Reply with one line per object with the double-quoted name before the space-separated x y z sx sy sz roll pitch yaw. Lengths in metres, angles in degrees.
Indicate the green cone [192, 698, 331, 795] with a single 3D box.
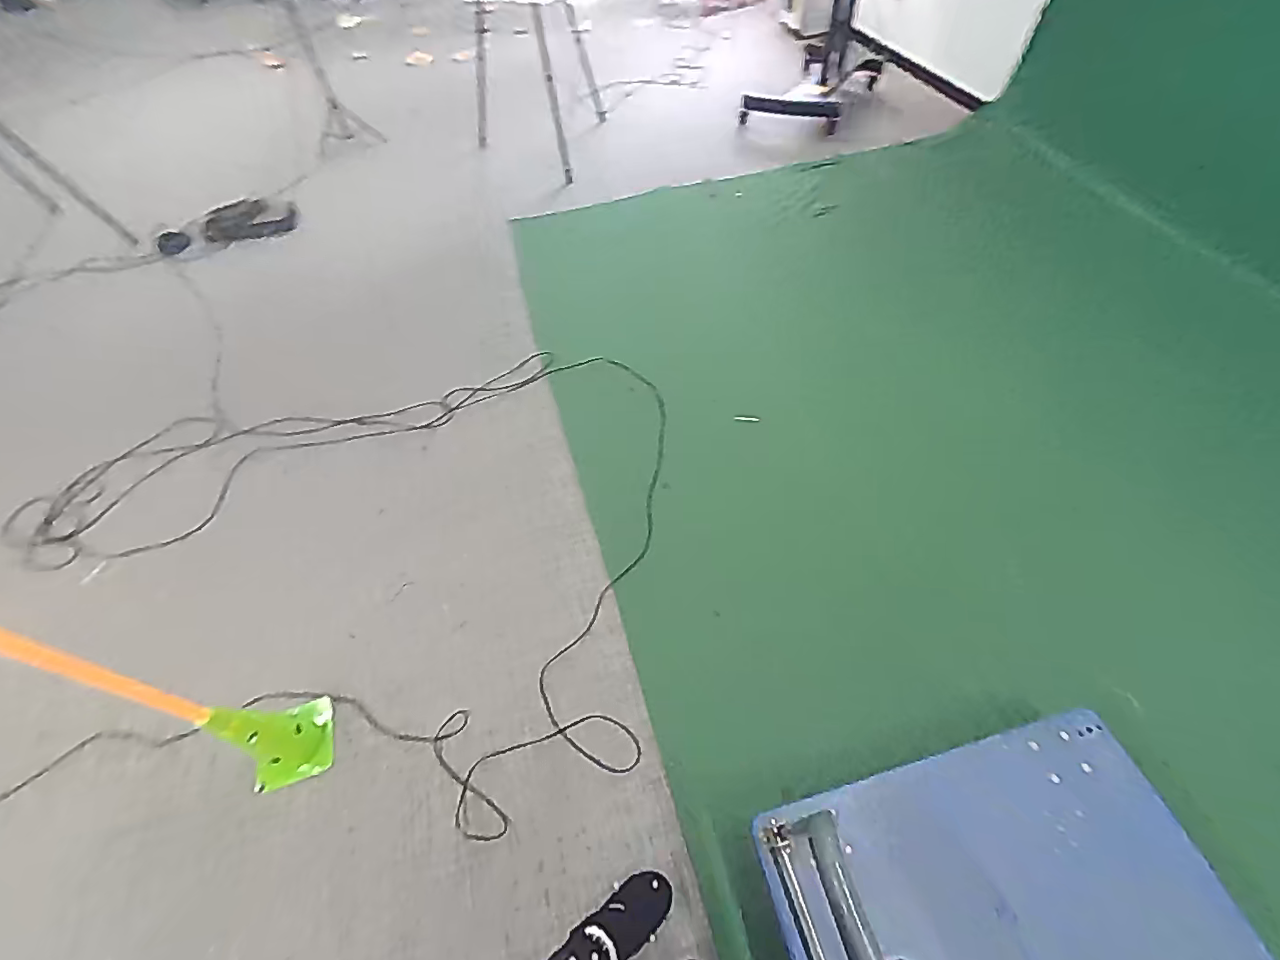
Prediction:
"green cone" -0.966 0.628 1.351 0.200 0.368 0.202 -19 54 -9
